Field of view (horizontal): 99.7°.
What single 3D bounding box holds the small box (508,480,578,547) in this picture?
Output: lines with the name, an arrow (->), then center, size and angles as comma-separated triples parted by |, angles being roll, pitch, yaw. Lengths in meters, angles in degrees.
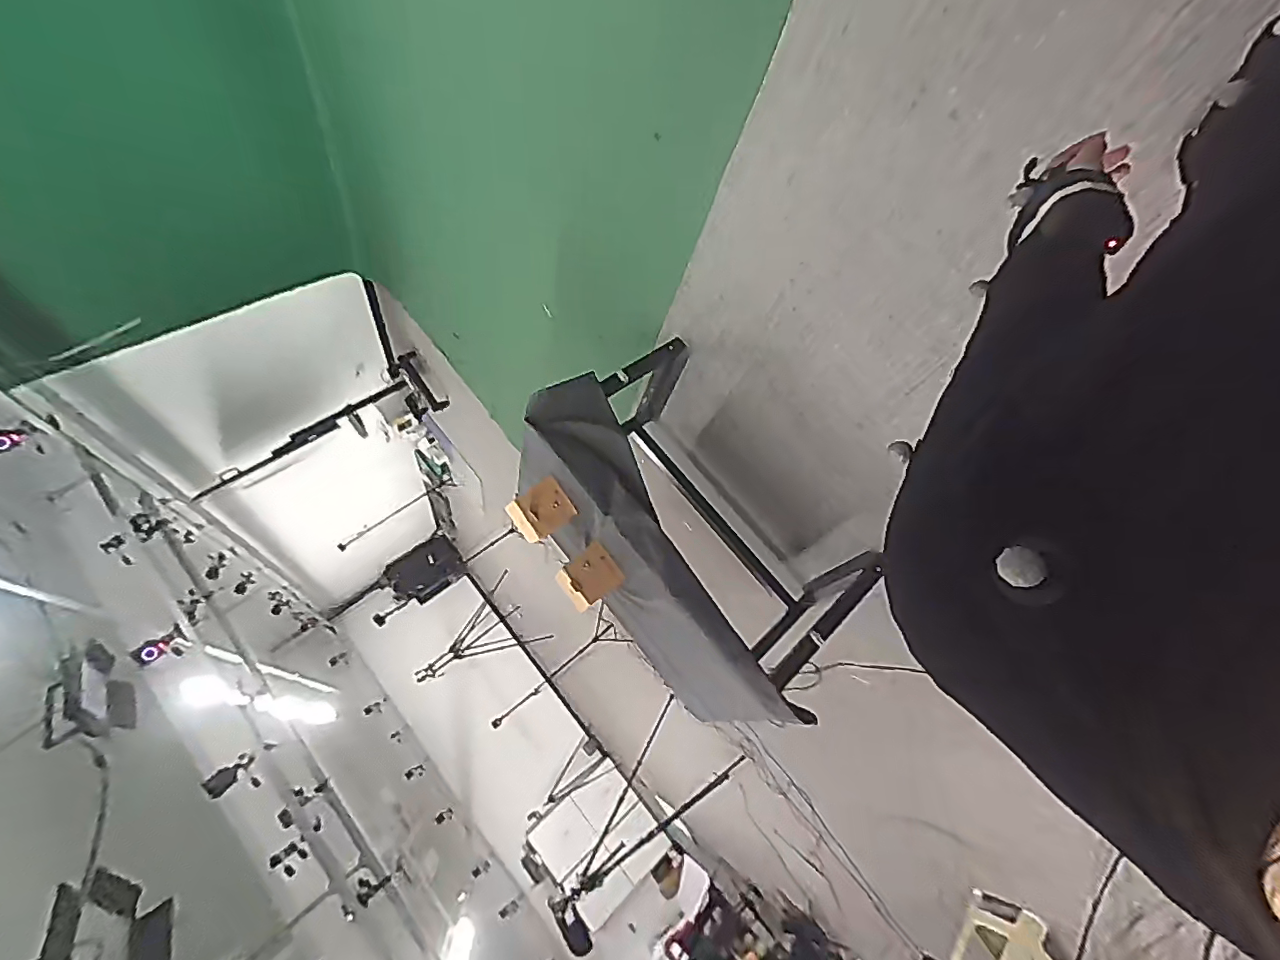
small box -> -0.345, 0.121, 1.937 | 0.168, 0.176, 0.179 | 56, 153, -4

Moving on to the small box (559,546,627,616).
small box -> -0.166, 0.359, 1.929 | 0.168, 0.176, 0.179 | 51, 155, 8
